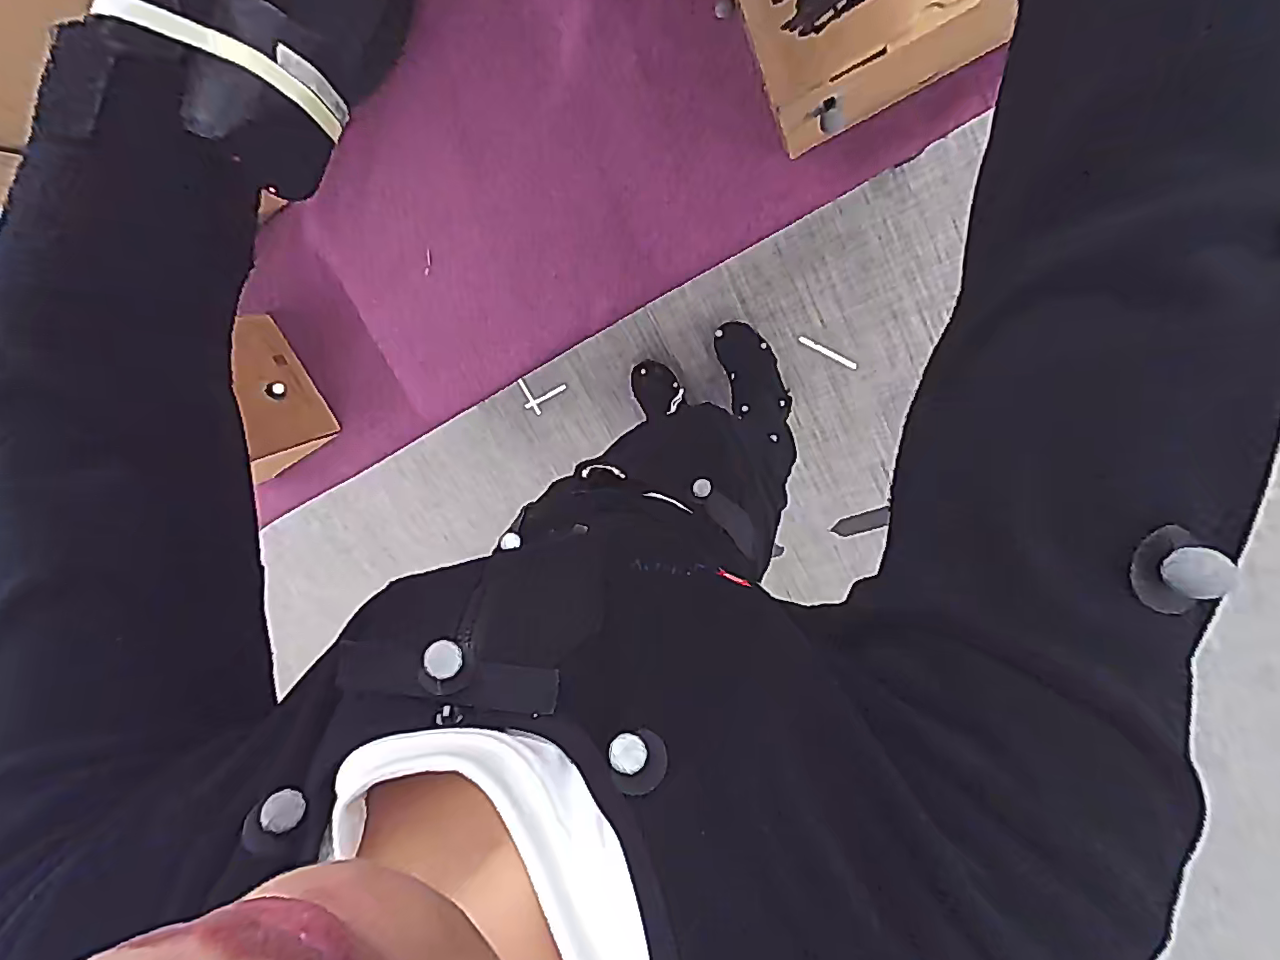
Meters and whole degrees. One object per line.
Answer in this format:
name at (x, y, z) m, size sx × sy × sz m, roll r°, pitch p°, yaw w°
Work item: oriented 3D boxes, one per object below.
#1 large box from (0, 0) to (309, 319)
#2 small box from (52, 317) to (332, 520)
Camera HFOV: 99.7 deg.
large box at (-0.614, -0.394, 0.473) m, size 0.320 × 0.320 × 0.408 m, roll -20°, pitch 107°, yaw 24°
small box at (-0.522, -0.079, 0.651) m, size 0.179 × 0.176 × 0.168 m, roll -23°, pitch 102°, yaw 24°
